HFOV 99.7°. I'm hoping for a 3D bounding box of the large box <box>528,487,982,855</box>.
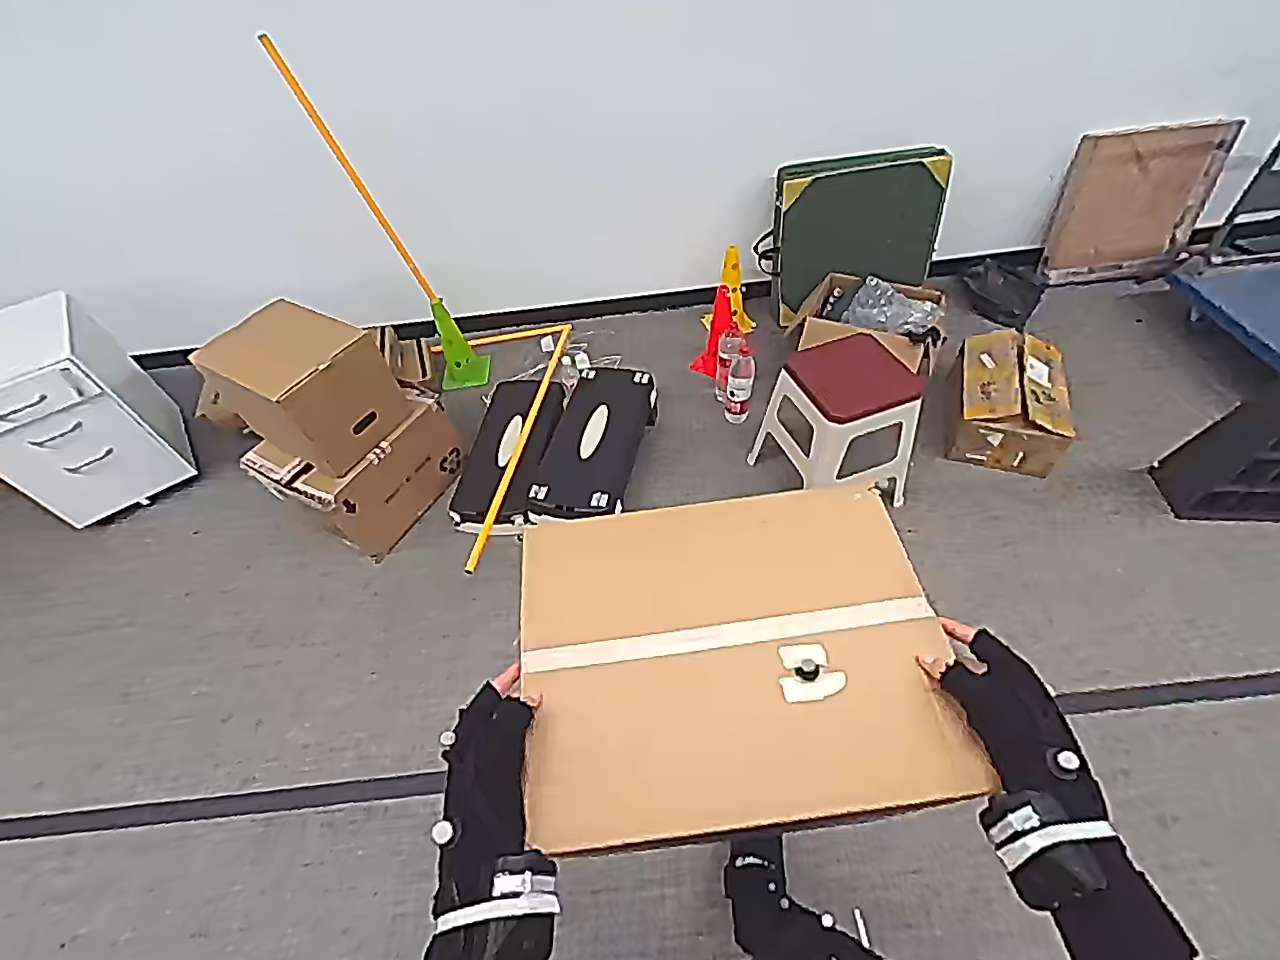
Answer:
[{"bbox_3d":[0.093,0.245,0.667,0.408,0.320,0.320,-8,54,-1],"label":"large box"}]
